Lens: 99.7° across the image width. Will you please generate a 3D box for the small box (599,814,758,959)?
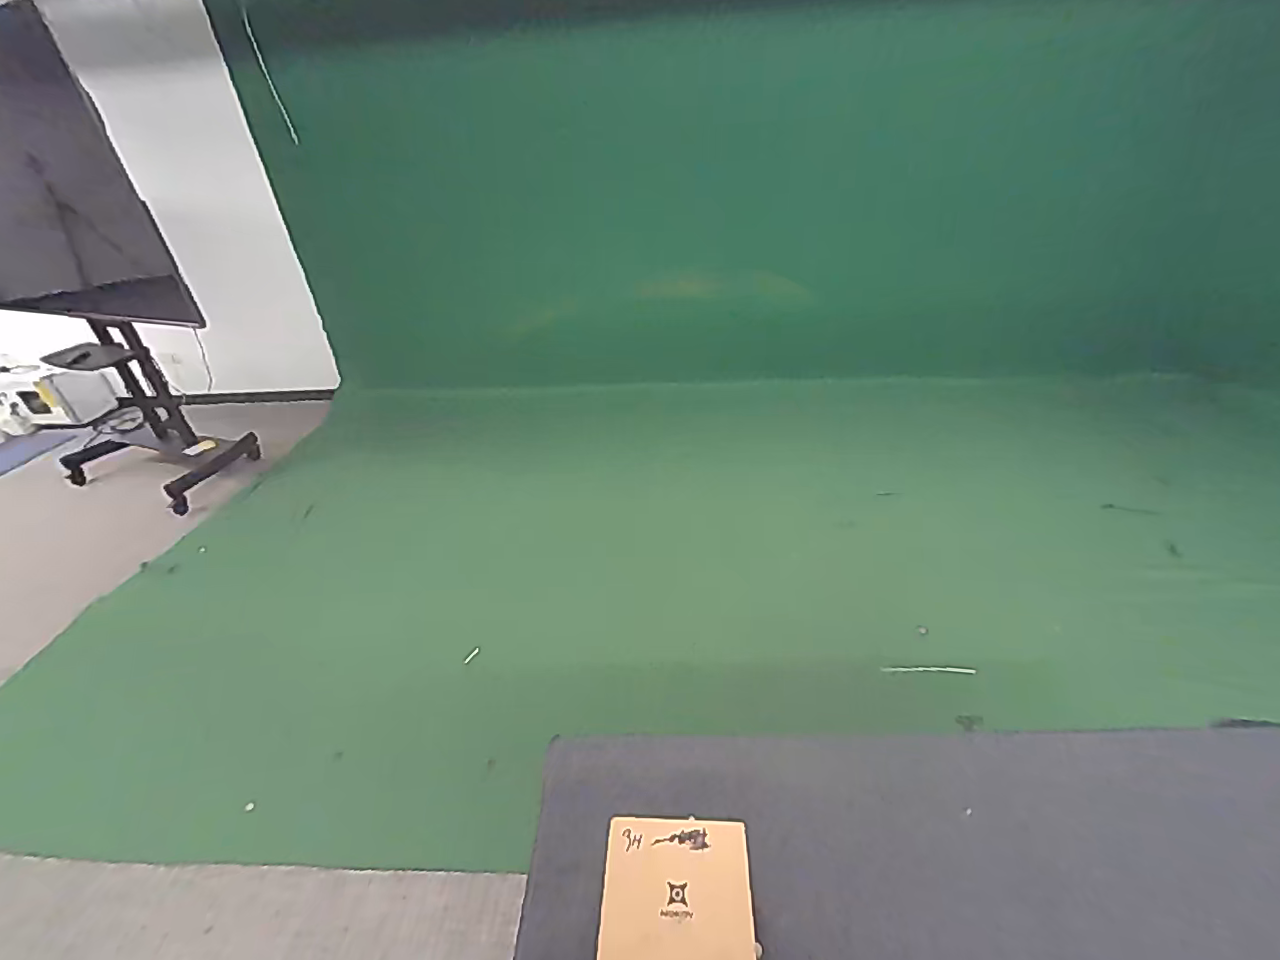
[{"bbox_3d":[0.047,0.528,0.635,0.168,0.176,0.179,0,33,5],"label":"small box"}]
